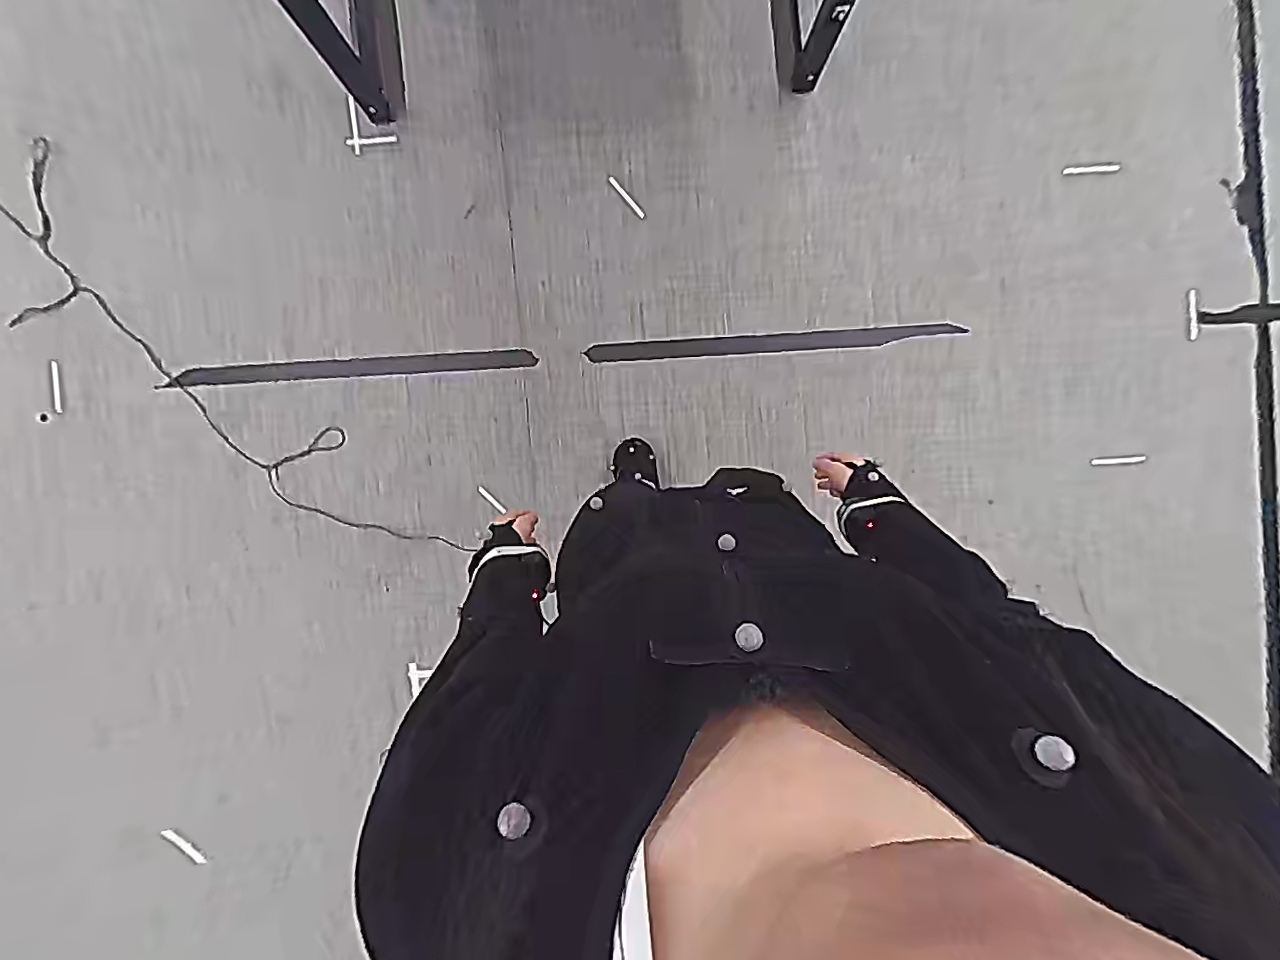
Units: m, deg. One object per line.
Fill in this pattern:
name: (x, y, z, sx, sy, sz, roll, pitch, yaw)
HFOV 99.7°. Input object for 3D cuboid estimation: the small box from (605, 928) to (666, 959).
small box: (-0.008, 1.376, 1.481, 0.168, 0.176, 0.179, -7, 93, 0)
